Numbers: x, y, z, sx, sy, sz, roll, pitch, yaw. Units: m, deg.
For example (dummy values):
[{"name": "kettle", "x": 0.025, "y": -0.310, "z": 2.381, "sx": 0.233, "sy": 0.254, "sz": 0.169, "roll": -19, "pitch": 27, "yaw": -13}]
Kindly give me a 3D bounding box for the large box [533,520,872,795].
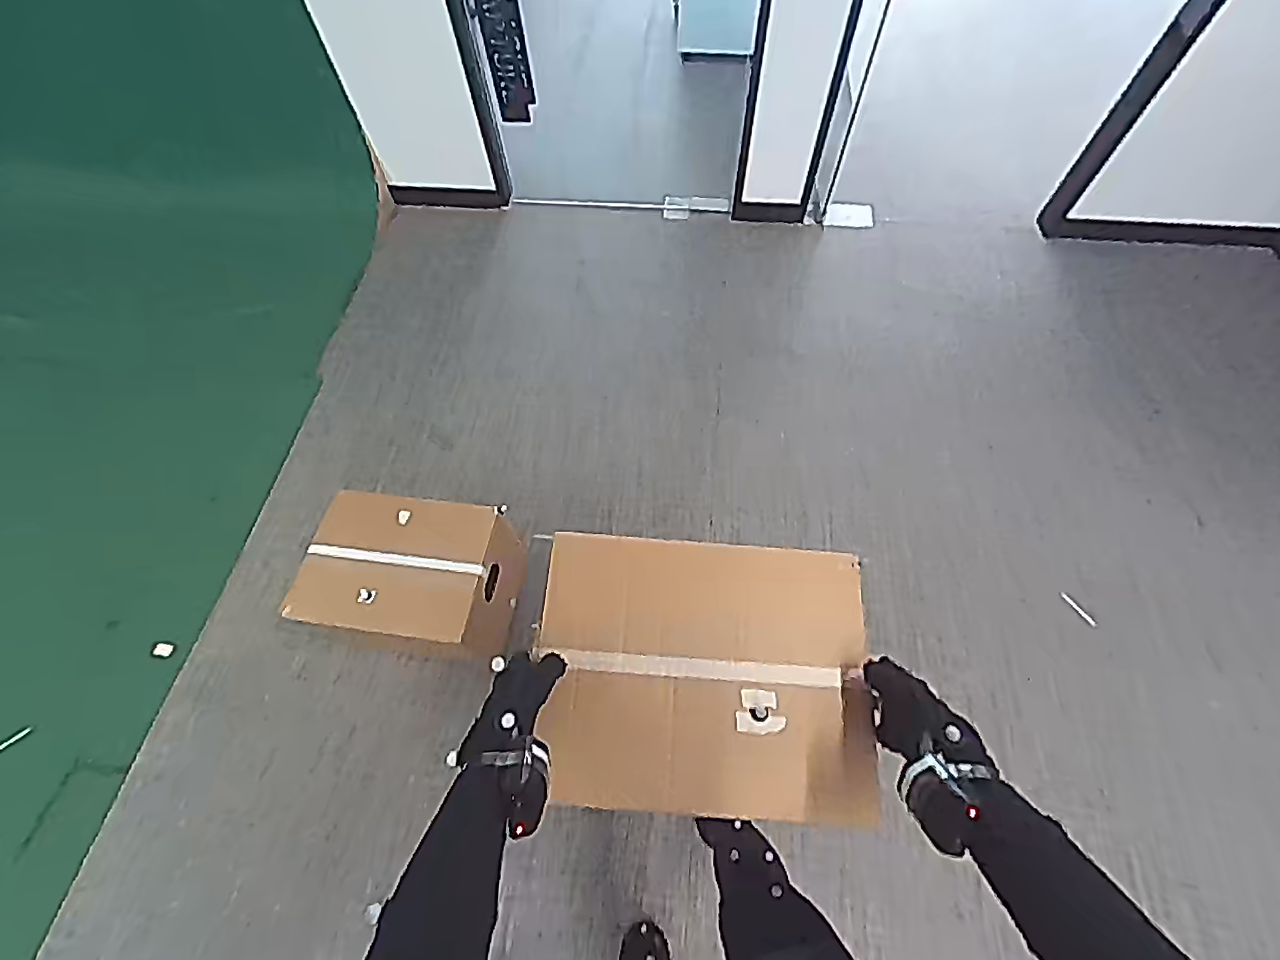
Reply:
[{"name": "large box", "x": 0.073, "y": 0.264, "z": 0.815, "sx": 0.408, "sy": 0.320, "sz": 0.320, "roll": 5, "pitch": 69, "yaw": -1}]
